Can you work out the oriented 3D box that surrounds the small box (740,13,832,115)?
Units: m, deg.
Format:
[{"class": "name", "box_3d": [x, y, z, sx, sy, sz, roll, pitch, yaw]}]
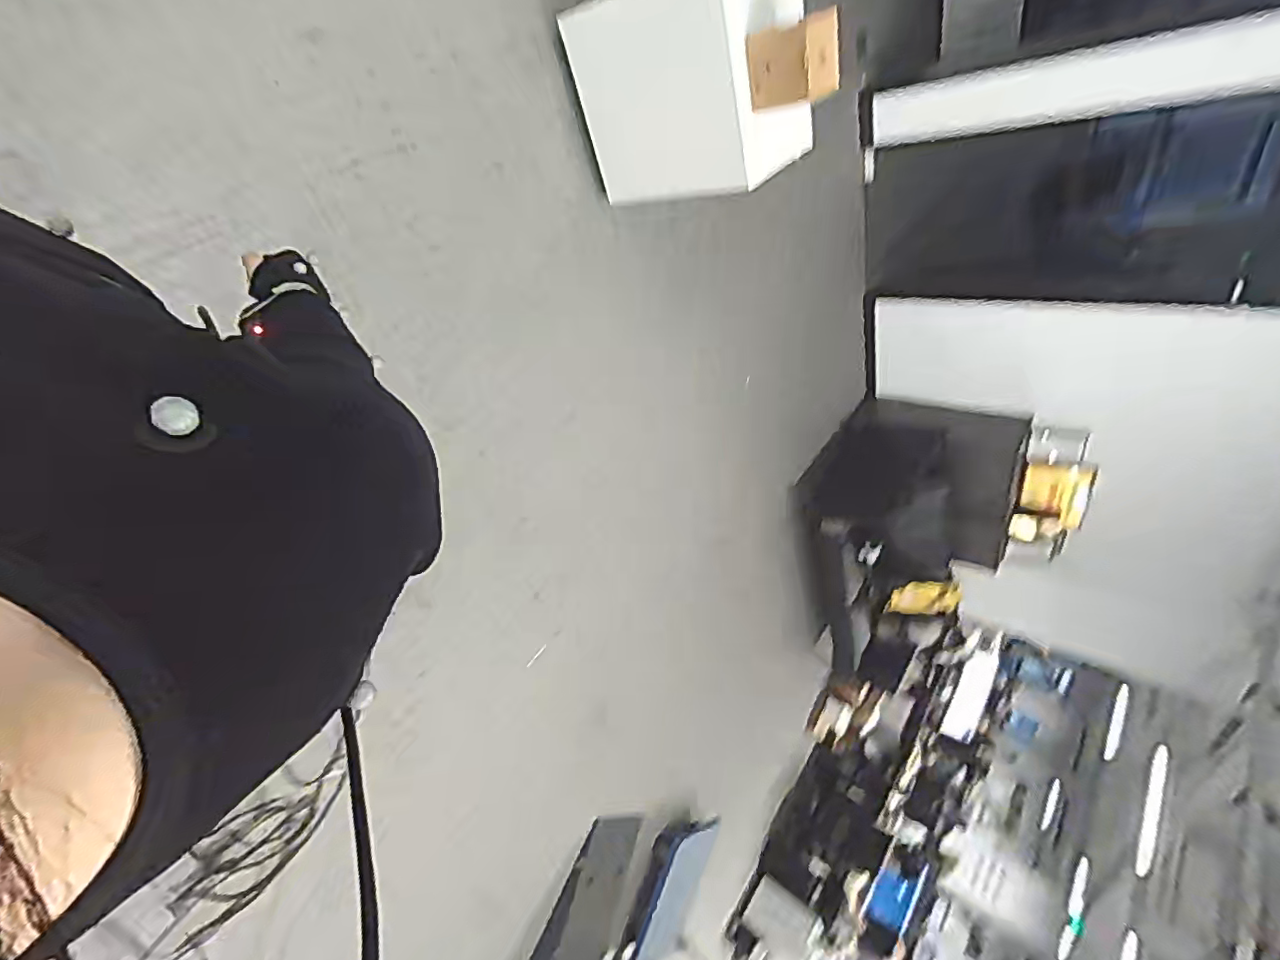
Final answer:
[{"class": "small box", "box_3d": [0.380, -1.073, 1.398, 0.179, 0.176, 0.168, -45, 134, -31]}]
